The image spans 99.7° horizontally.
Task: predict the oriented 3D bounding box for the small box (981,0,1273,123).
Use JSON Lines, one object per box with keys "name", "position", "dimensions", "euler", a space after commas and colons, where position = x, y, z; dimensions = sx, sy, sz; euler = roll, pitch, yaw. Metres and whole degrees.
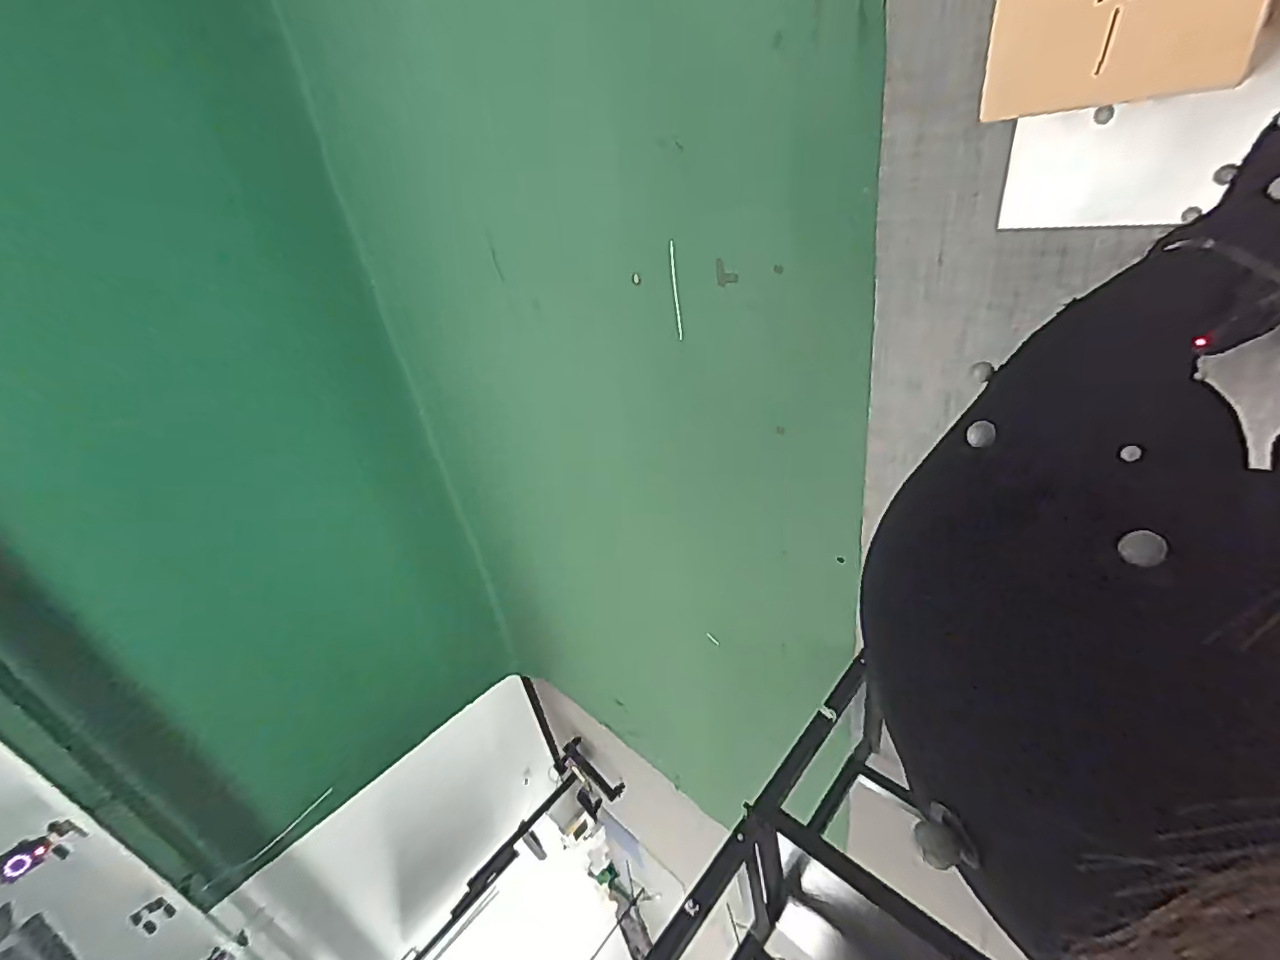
{"name": "small box", "position": [0.409, -0.408, 0.439], "dimensions": [0.168, 0.176, 0.179], "euler": [21, 132, 39]}
